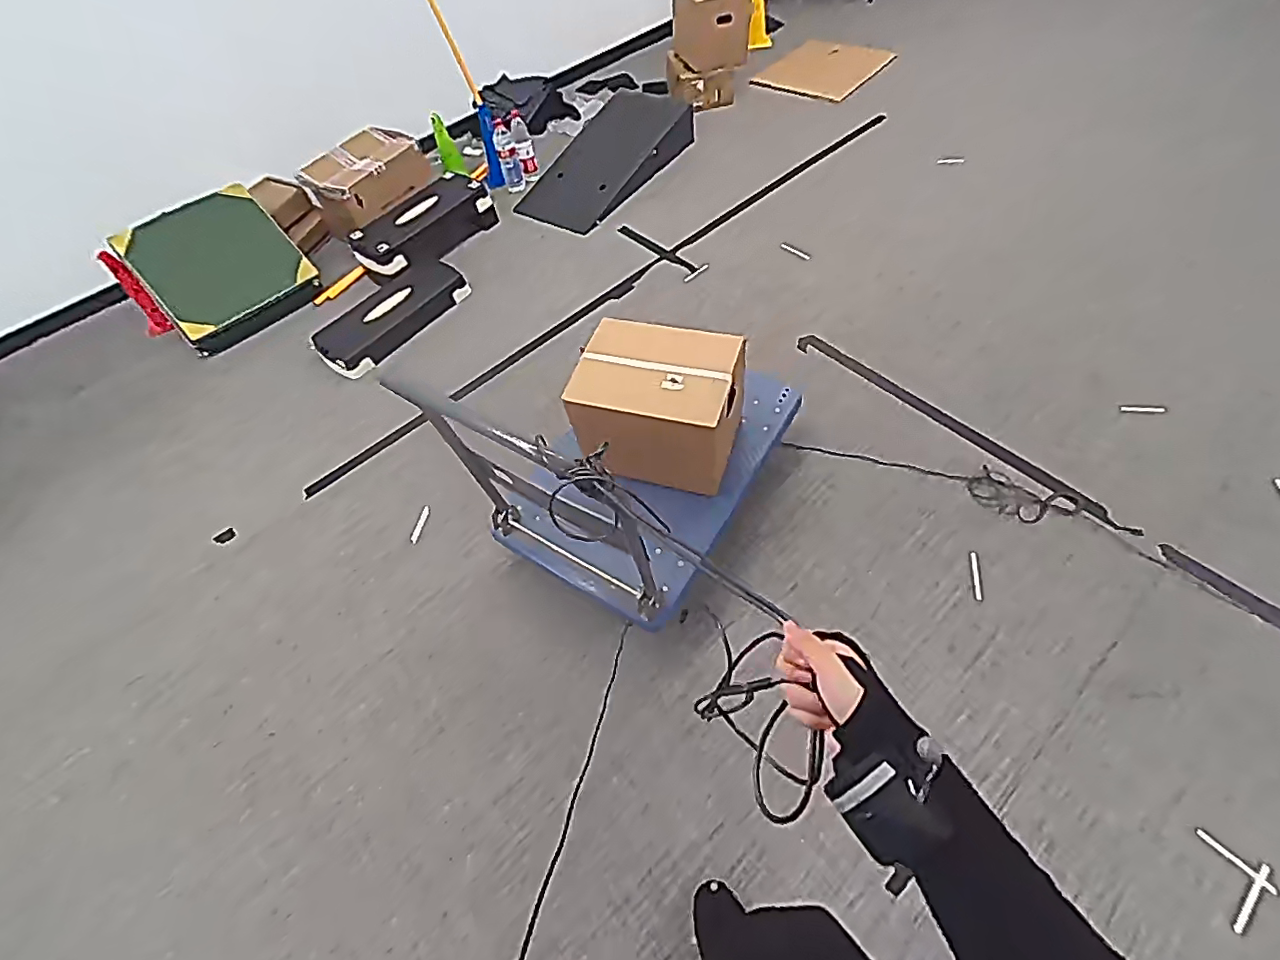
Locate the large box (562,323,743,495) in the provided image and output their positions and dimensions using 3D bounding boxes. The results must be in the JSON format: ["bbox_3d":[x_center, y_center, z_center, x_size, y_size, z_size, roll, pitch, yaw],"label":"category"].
[{"bbox_3d":[0.049,-0.195,1.501,0.408,0.320,0.320,12,60,15],"label":"large box"}]
